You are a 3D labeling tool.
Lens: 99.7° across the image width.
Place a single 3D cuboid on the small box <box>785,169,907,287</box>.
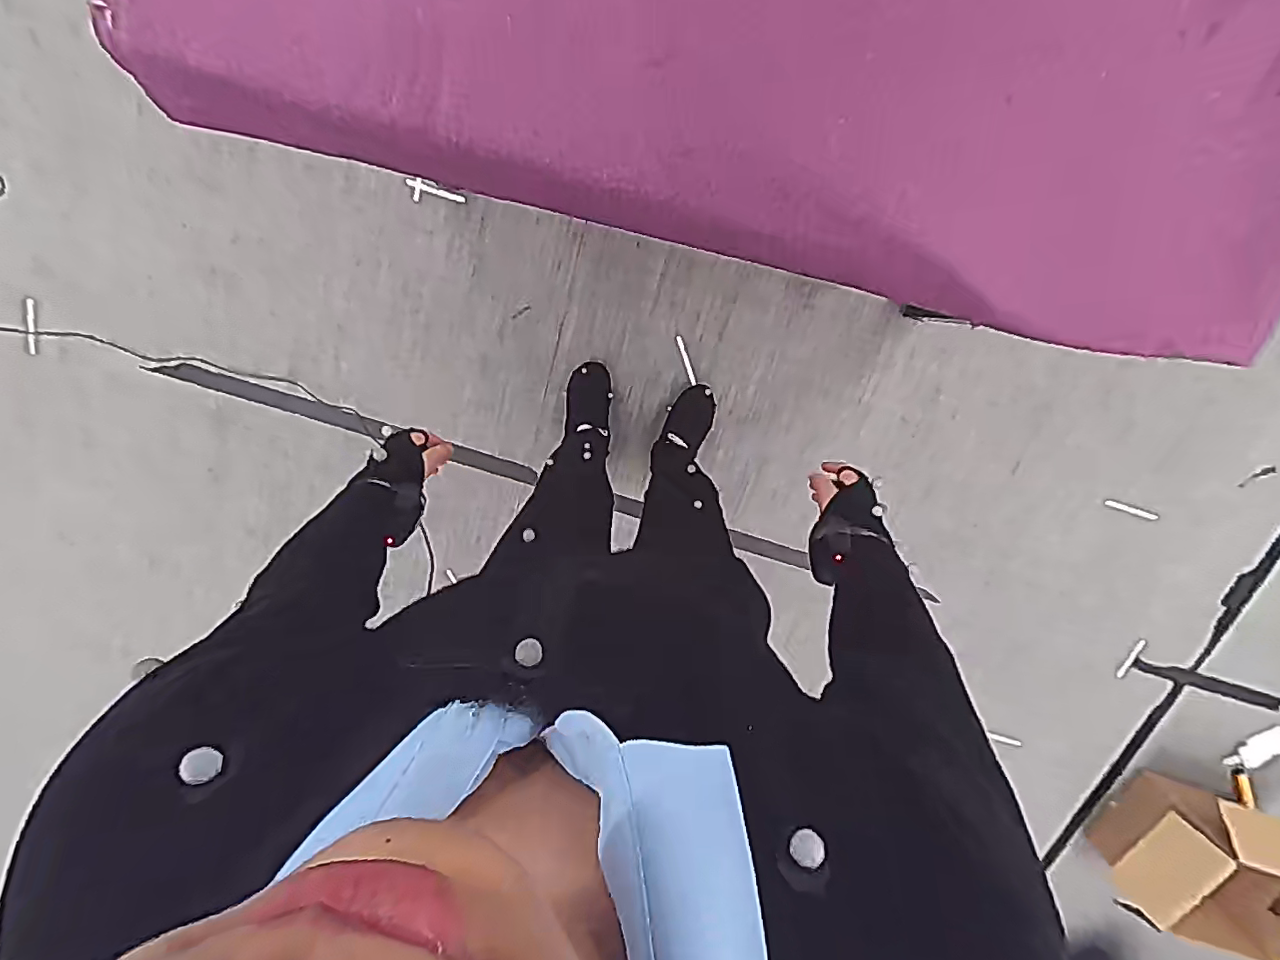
[{"bbox_3d":[0.436,-0.537,1.182,0.168,0.176,0.179,24,107,-7],"label":"small box"}]
